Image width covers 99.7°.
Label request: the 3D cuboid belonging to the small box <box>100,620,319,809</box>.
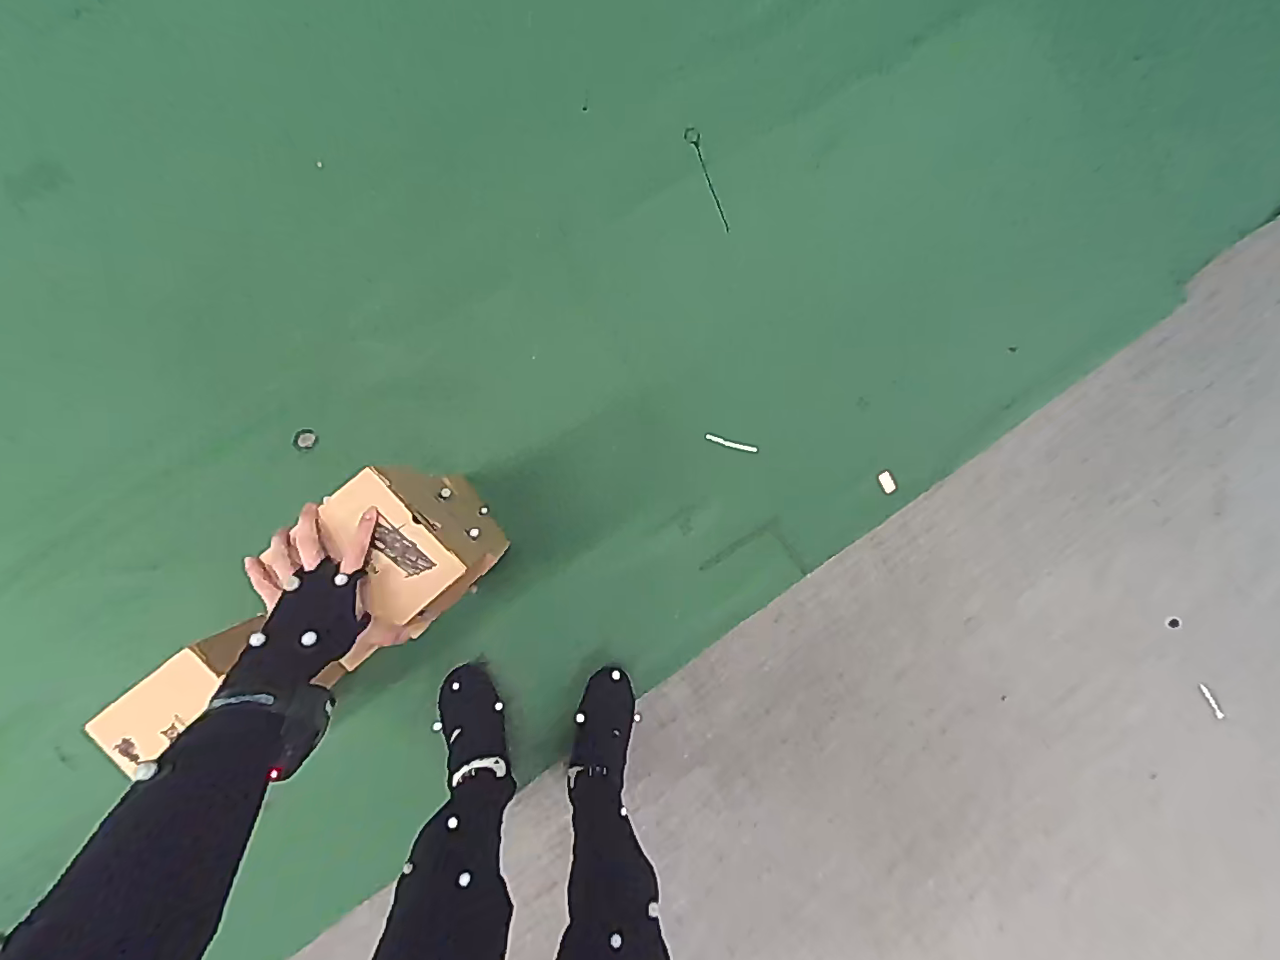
[{"bbox_3d":[-0.636,0.344,0.834,0.179,0.176,0.168,-39,94,-5],"label":"small box"}]

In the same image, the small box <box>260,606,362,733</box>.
[{"bbox_3d":[-0.650,0.341,0.997,0.168,0.176,0.179,-36,94,-4],"label":"small box"}]

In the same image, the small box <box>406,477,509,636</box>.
[{"bbox_3d":[-0.334,0.113,0.865,0.168,0.176,0.179,-44,96,-4],"label":"small box"}]

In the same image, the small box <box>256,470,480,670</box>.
[{"bbox_3d":[-0.327,0.101,0.699,0.179,0.176,0.168,-42,95,-4],"label":"small box"}]
